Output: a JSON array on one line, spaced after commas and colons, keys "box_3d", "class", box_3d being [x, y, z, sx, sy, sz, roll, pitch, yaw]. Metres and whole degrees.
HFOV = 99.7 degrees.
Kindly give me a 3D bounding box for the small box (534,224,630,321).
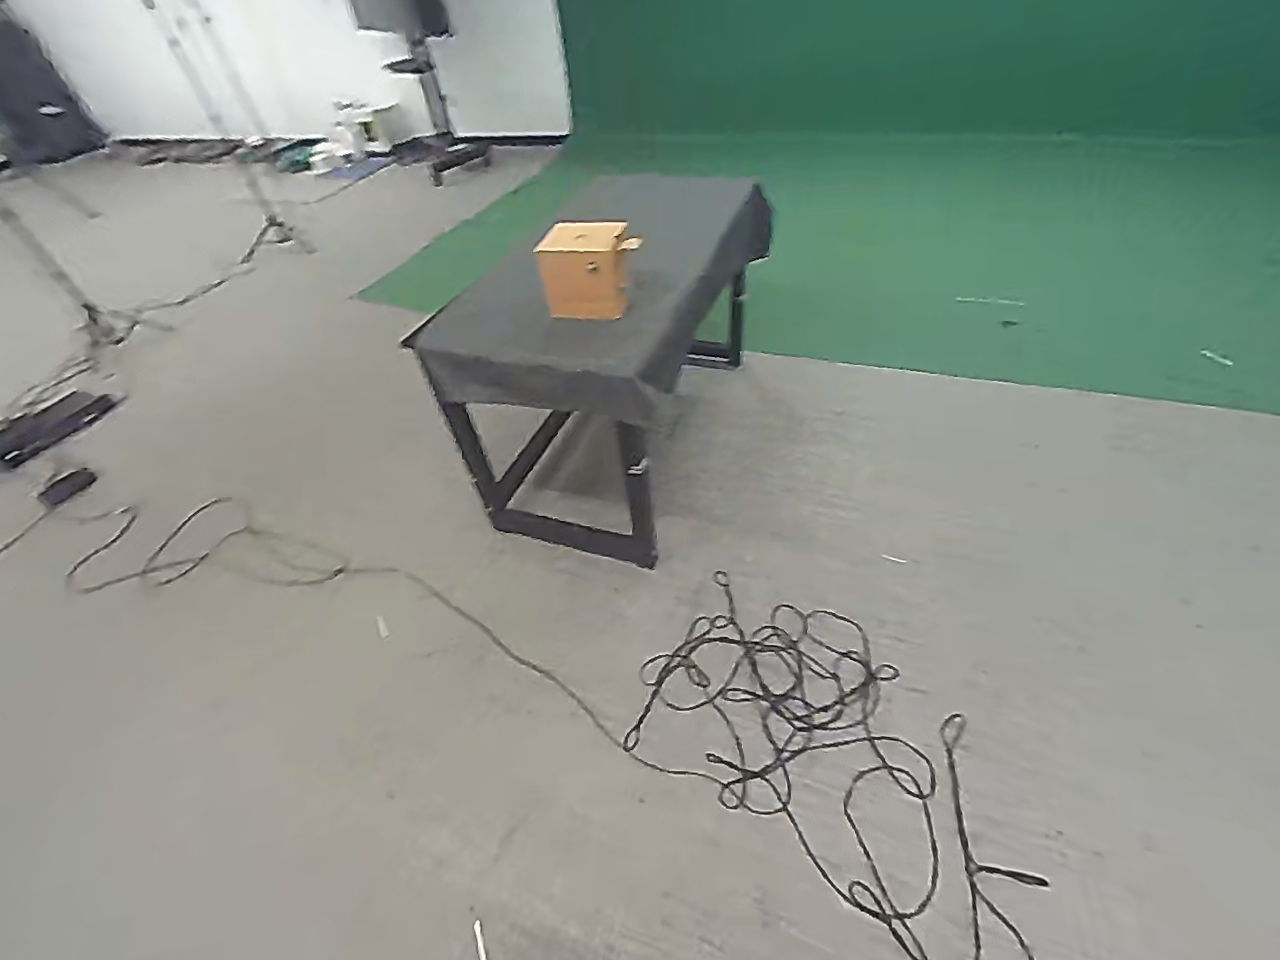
[{"box_3d": [-0.132, -0.499, 1.303, 0.179, 0.176, 0.168, 5, 46, 12], "class": "small box"}]
